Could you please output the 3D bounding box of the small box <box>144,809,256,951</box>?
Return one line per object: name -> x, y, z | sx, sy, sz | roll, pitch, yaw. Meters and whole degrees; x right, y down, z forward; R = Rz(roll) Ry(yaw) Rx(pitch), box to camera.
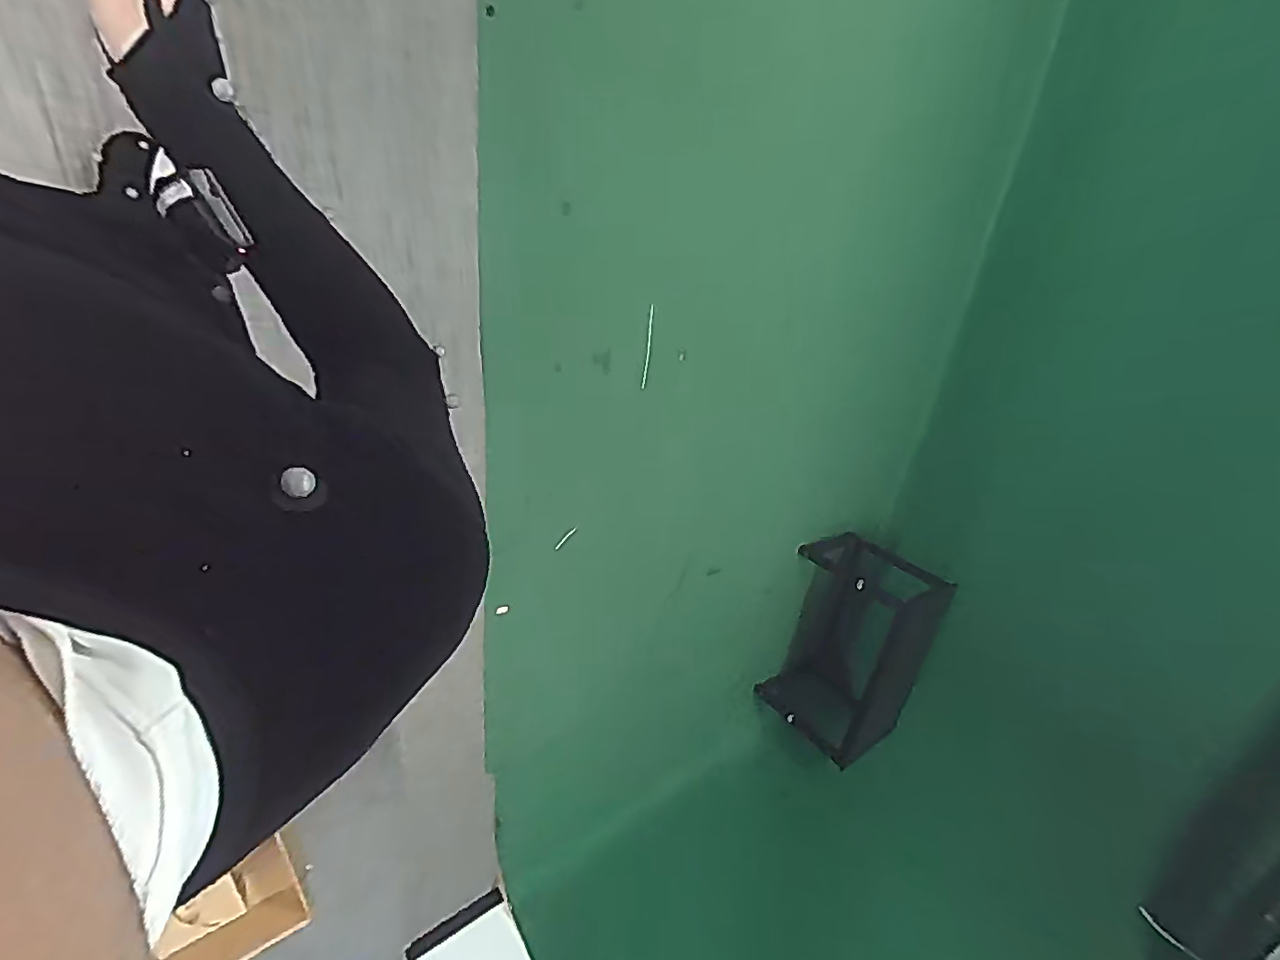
small box -> -1.020, 0.922, 1.261 | 0.168, 0.176, 0.179 | -16, 124, -35
